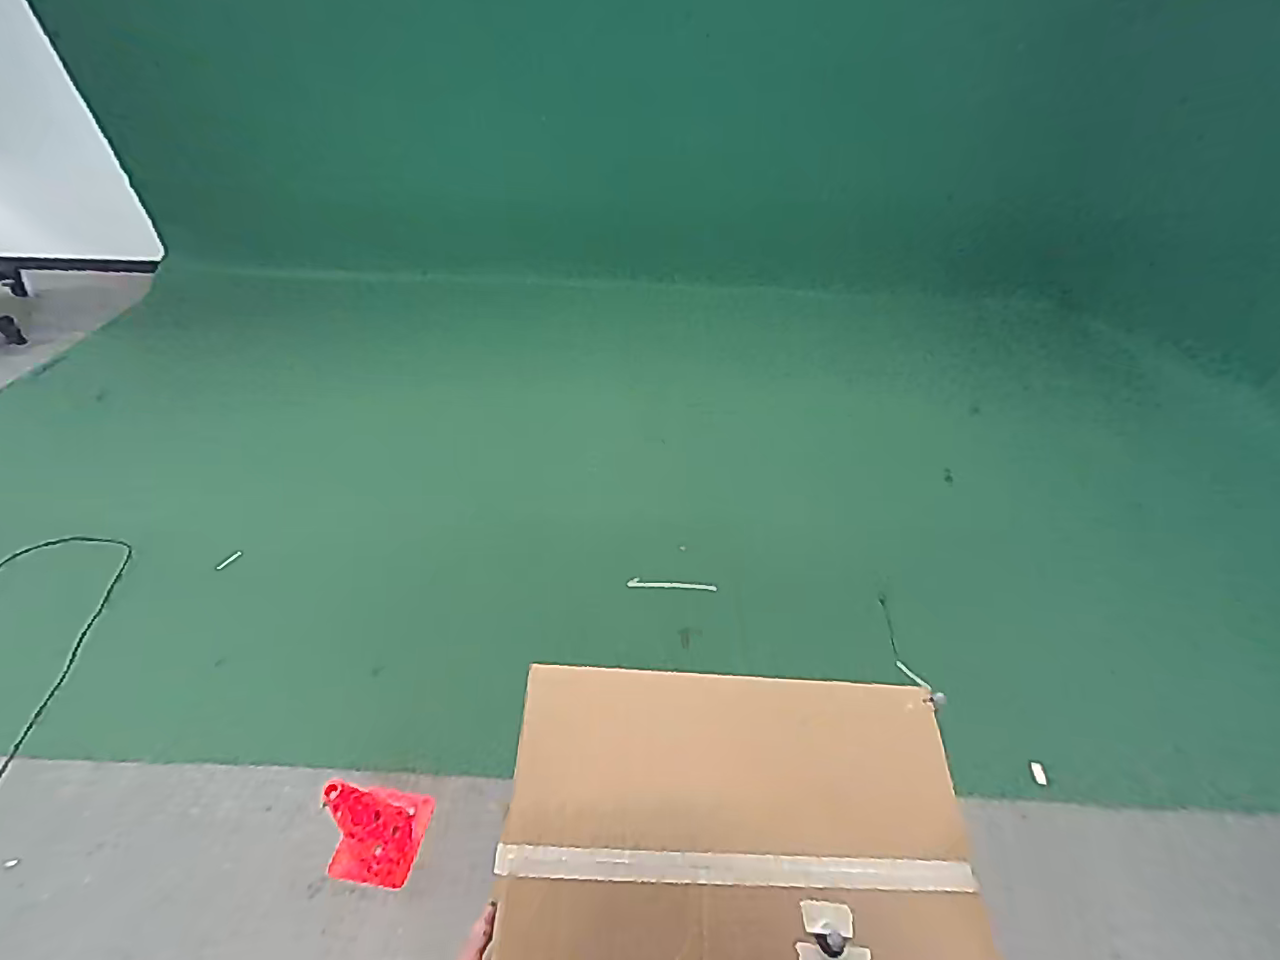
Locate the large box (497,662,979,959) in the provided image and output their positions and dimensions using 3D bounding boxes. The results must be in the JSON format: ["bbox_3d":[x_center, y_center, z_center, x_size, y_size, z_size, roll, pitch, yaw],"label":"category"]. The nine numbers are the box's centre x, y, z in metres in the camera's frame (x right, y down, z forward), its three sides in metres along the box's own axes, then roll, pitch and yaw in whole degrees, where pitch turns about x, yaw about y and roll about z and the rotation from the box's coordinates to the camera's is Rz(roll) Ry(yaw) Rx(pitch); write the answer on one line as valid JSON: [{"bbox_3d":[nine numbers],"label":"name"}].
[{"bbox_3d":[0.071,0.405,0.600,0.408,0.320,0.320,4,58,-4],"label":"large box"}]

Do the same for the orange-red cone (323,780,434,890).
[{"bbox_3d":[-0.644,0.776,1.245,0.199,0.360,0.198,6,43,7],"label":"orange-red cone"}]
